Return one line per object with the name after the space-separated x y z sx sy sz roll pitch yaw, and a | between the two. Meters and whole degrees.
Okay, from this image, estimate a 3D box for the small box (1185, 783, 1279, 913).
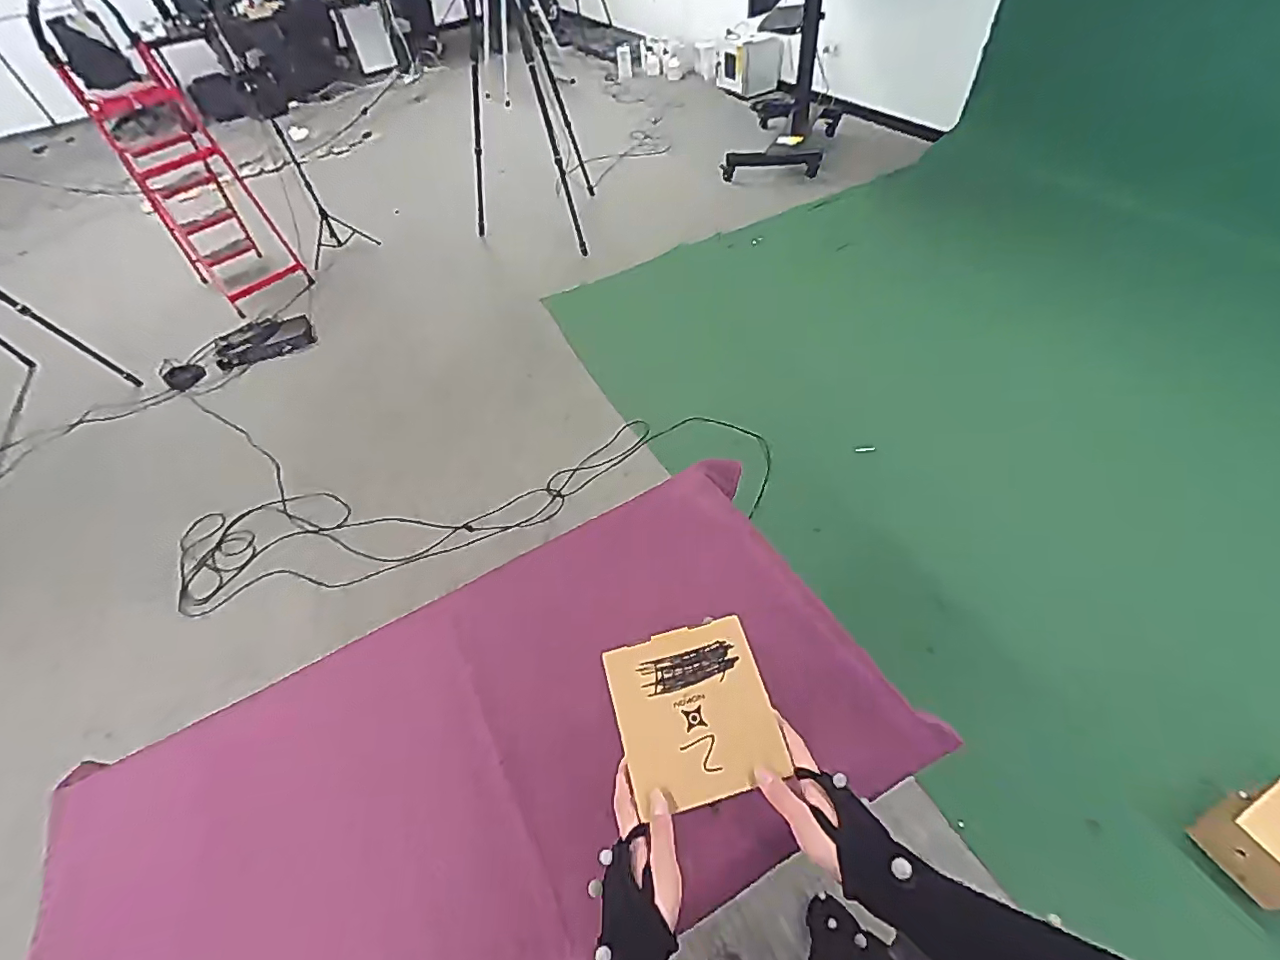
1.360 0.803 1.175 0.179 0.176 0.168 -24 51 -15 | small box
